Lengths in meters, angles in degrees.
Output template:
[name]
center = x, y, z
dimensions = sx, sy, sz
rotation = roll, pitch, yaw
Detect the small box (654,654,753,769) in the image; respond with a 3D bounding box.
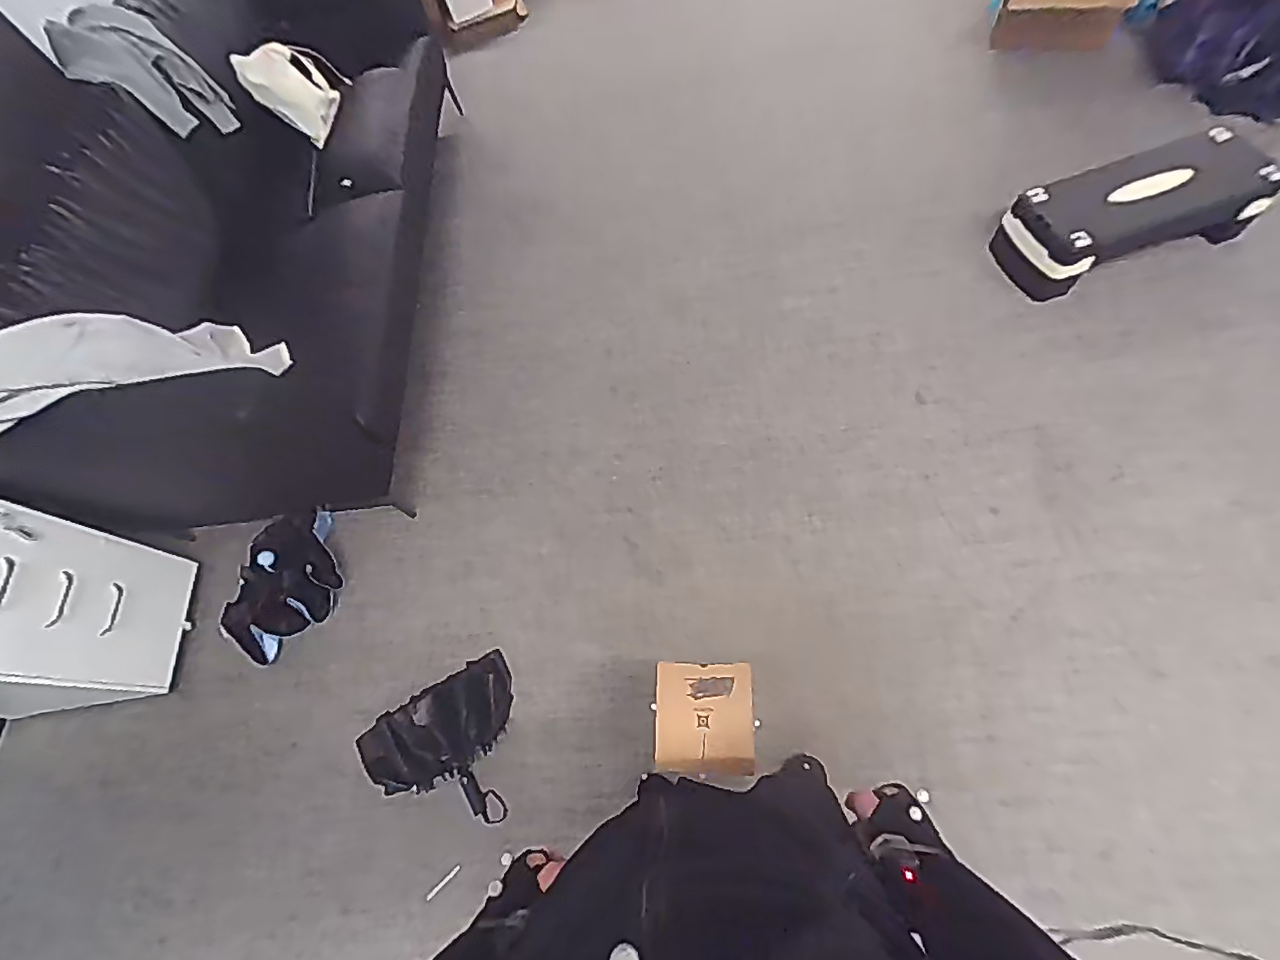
[small box]
center = 0.120, 0.425, 0.998
dimensions = 0.168, 0.176, 0.179
rotation = -1, 66, 9
